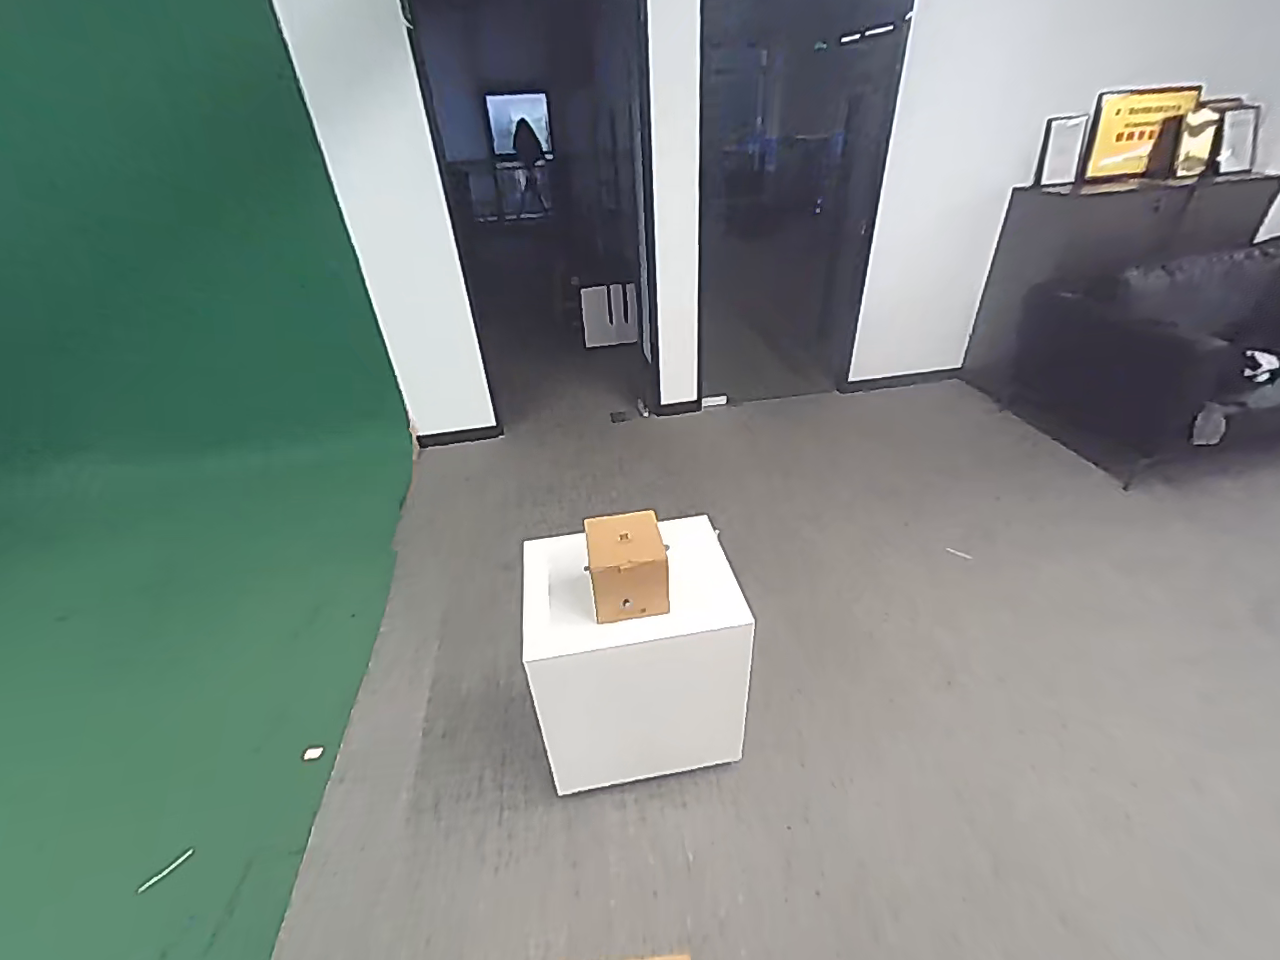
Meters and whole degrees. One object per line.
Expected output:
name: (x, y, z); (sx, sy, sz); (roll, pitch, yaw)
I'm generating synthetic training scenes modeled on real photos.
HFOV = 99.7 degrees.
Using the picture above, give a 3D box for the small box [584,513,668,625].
small box: (-0.034, 0.200, 1.224); (0.168, 0.176, 0.179); (-8, 33, -7)
